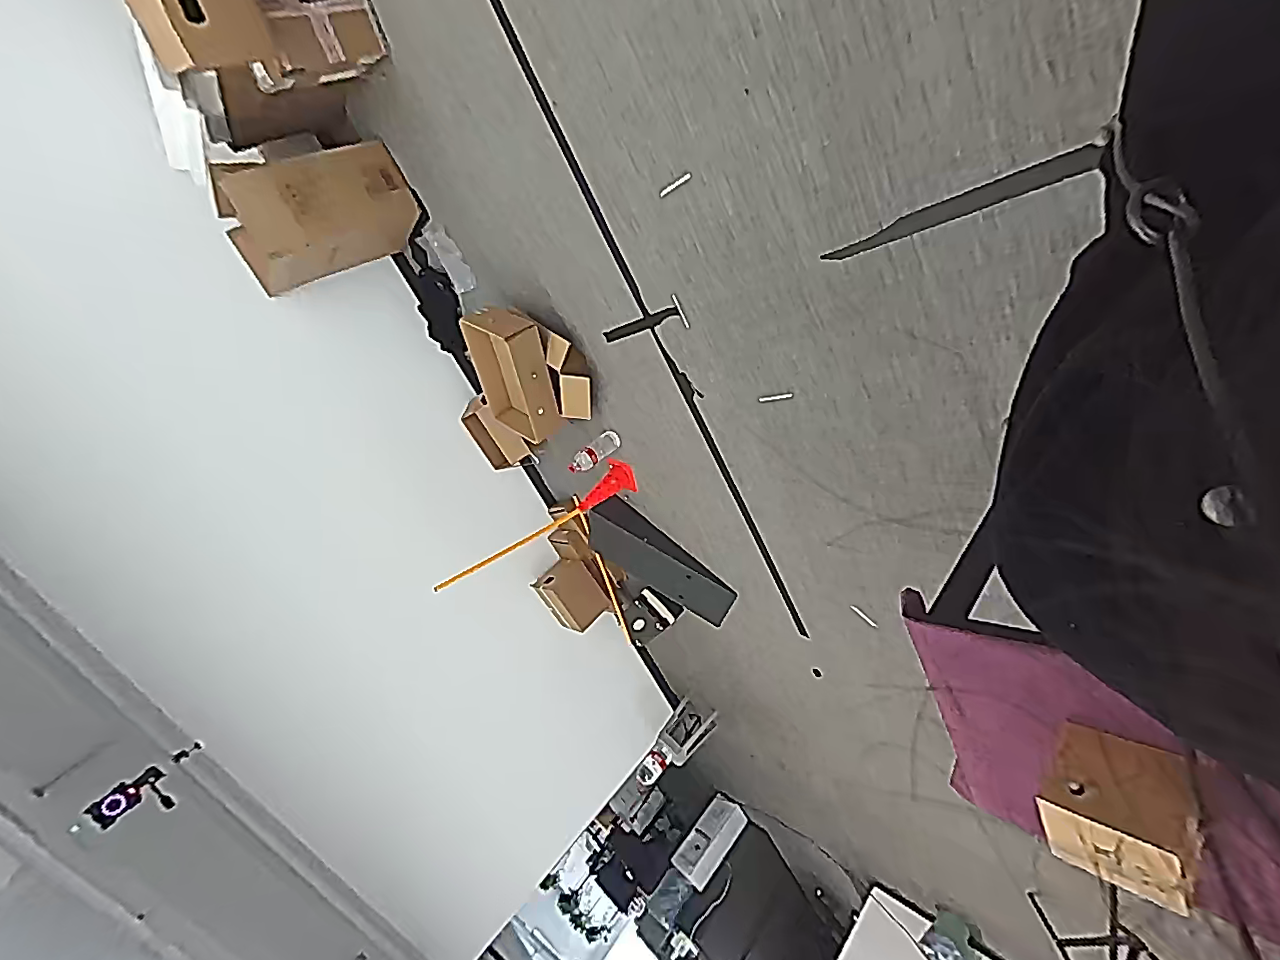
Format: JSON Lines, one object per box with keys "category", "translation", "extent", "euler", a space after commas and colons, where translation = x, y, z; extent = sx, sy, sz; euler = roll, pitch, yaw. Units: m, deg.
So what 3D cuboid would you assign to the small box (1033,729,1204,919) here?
{"category": "small box", "translation": [0.791, 0.549, 0.894], "extent": [0.179, 0.176, 0.168], "euler": [2, 126, 53]}
